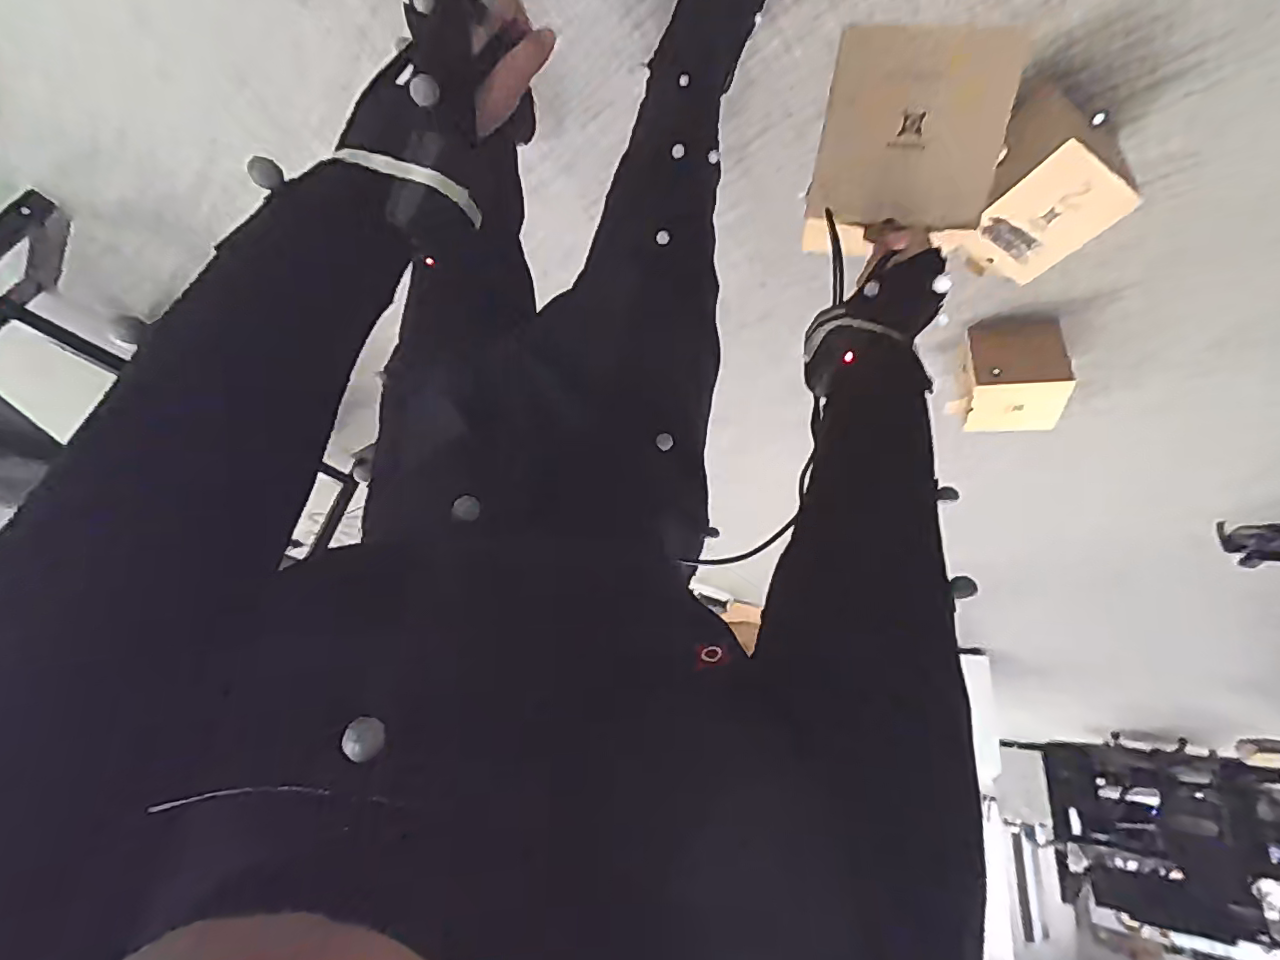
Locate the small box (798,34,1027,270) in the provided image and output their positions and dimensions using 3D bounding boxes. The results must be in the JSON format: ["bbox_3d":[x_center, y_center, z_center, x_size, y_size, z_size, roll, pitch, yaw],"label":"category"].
[{"bbox_3d":[0.274,-0.340,0.593,0.168,0.179,0.176,12,-166,12],"label":"small box"}]

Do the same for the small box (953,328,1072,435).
[{"bbox_3d":[0.807,-0.215,1.190,0.179,0.176,0.168,0,149,22],"label":"small box"}]
